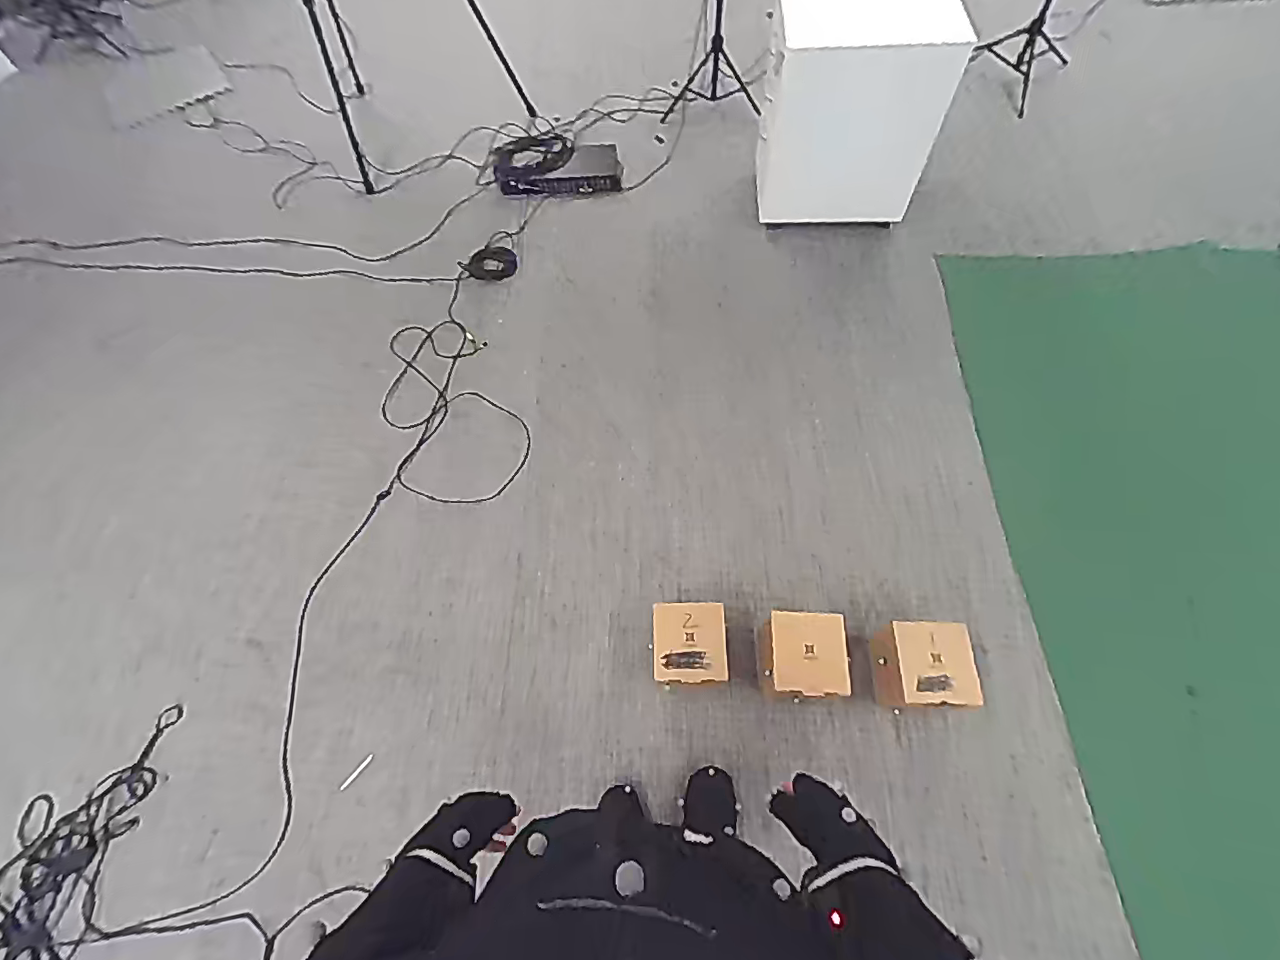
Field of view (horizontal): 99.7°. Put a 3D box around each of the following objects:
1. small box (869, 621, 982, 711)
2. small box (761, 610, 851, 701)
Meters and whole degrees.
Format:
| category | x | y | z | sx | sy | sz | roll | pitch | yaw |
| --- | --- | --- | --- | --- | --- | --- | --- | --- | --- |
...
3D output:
| category | x | y | z | sx | sy | sz | roll | pitch | yaw |
| --- | --- | --- | --- | --- | --- | --- | --- | --- | --- |
| small box | 0.648 | 0.433 | 1.250 | 0.168 | 0.176 | 0.179 | 1 | 63 | 4 |
| small box | 0.381 | 0.417 | 1.273 | 0.168 | 0.176 | 0.179 | 2 | 64 | 4 |
